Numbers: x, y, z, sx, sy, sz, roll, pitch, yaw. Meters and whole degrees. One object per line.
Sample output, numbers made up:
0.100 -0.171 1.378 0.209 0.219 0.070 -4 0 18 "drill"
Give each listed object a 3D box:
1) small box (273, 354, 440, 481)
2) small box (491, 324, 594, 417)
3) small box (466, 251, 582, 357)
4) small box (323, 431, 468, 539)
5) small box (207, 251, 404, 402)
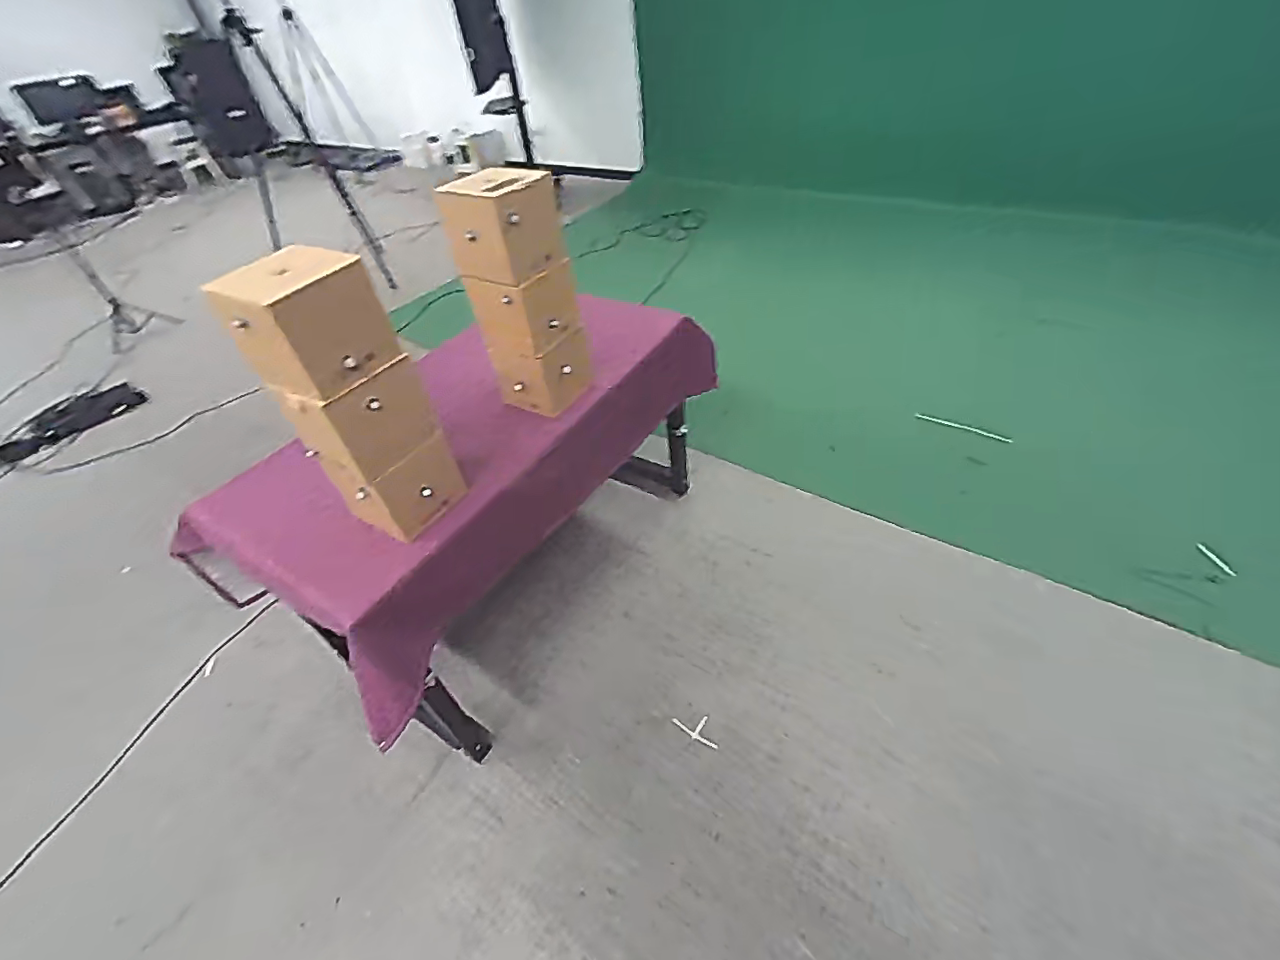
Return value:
-0.496 -0.125 0.973 0.168 0.176 0.179 20 49 27 "small box"
-0.231 -0.281 1.338 0.168 0.176 0.179 20 51 26 "small box"
-0.256 -0.399 1.228 0.179 0.176 0.168 21 50 27 "small box"
-0.479 -0.007 1.086 0.179 0.176 0.168 20 49 27 "small box"
-0.522 -0.245 0.865 0.179 0.176 0.168 19 50 25 "small box"
